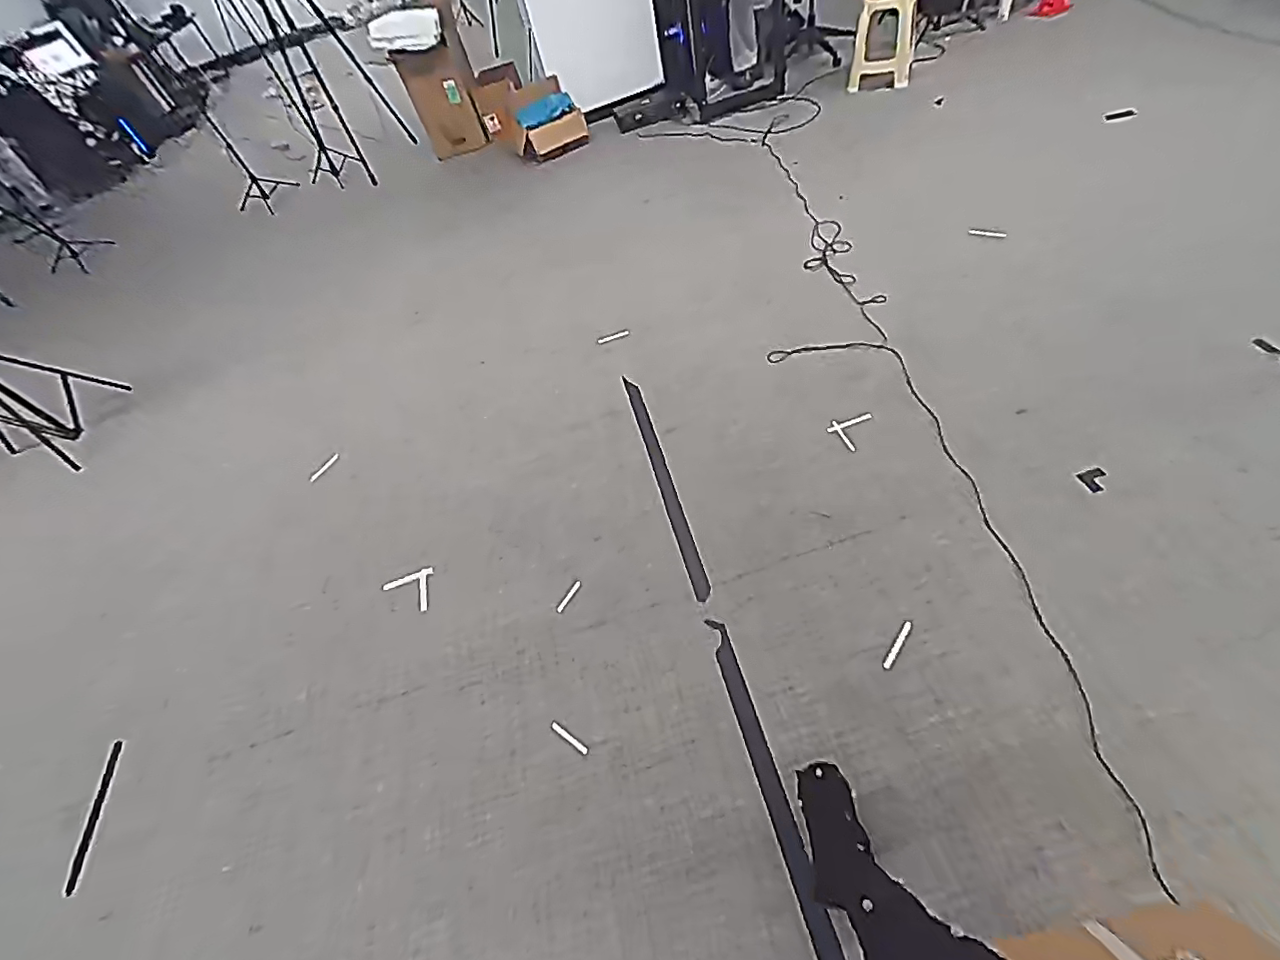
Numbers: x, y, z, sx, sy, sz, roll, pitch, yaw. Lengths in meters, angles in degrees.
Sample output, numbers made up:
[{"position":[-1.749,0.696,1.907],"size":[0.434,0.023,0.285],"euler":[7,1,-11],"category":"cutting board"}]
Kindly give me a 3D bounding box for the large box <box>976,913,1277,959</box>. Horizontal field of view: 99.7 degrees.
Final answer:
[{"position":[0.624,0.719,0.525],"size":[0.320,0.408,0.320],"euler":[-16,70,7],"category":"large box"}]
